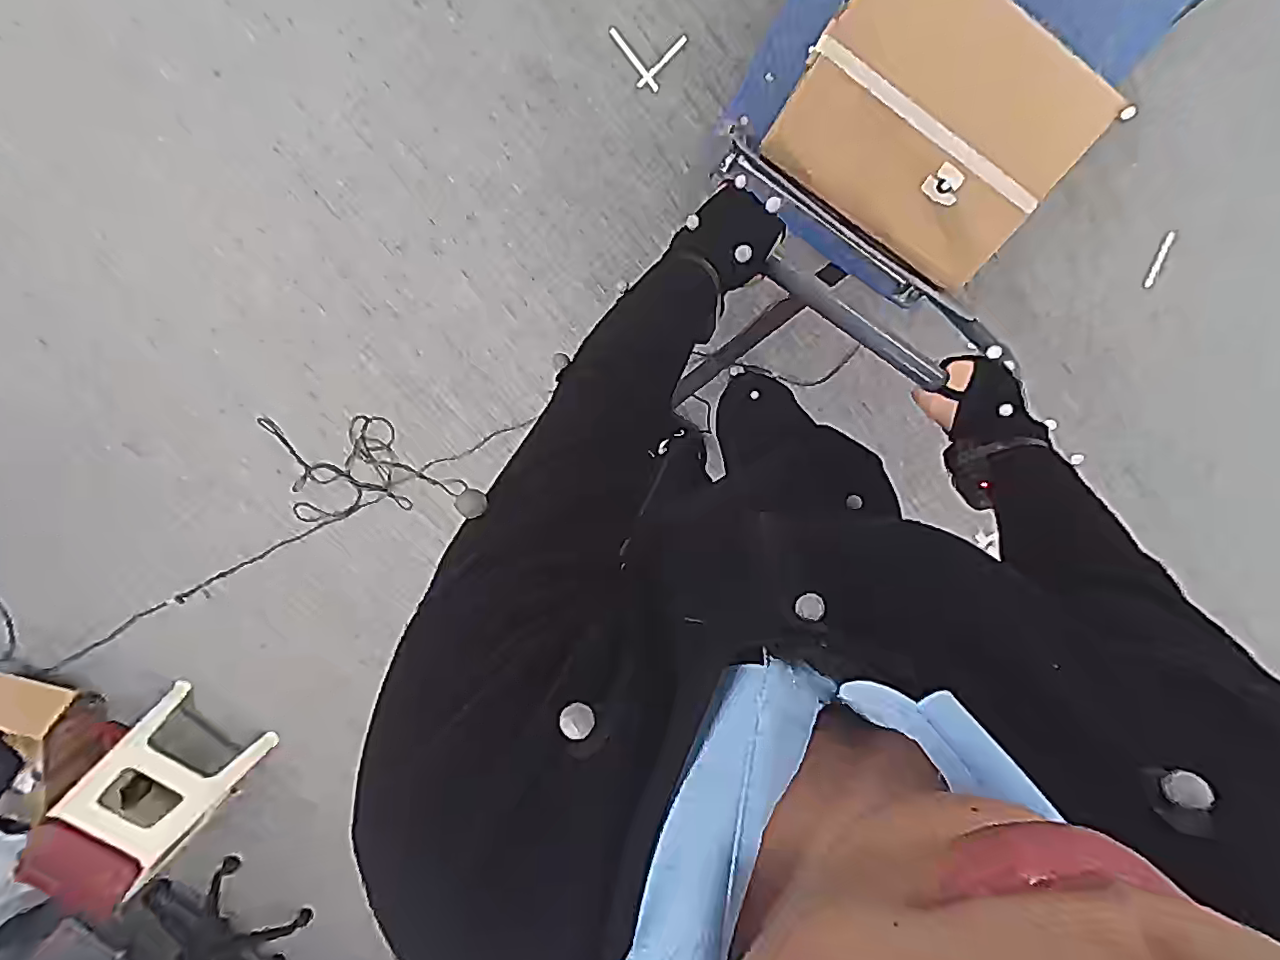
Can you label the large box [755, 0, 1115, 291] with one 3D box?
[{"bbox_3d":[0.456,-0.598,0.945,0.408,0.320,0.320,31,121,-9],"label":"large box"}]
